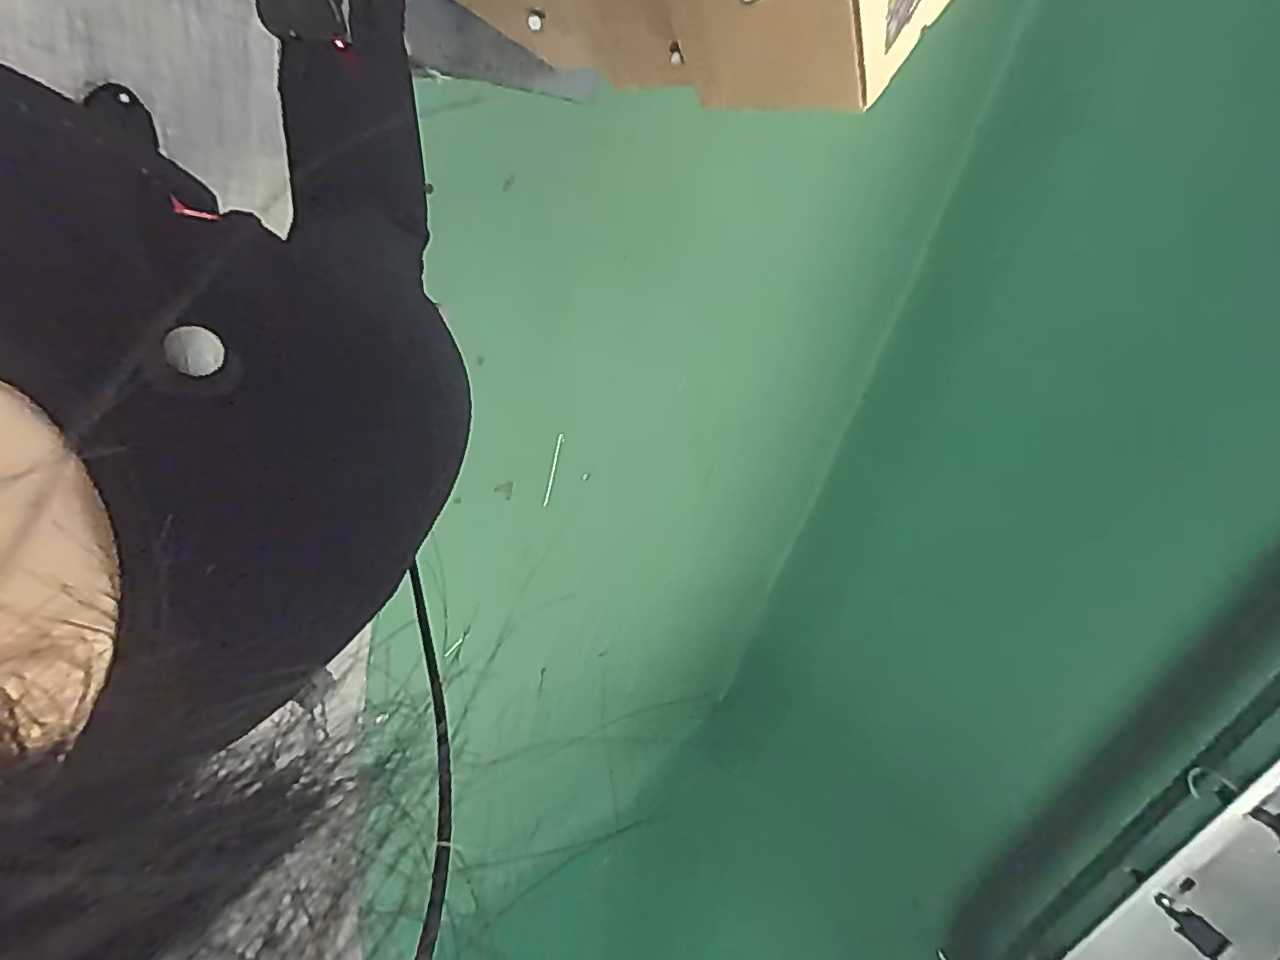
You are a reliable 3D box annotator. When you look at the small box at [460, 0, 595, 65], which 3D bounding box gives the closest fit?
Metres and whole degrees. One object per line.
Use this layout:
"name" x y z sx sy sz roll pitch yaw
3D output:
"small box" -0.085 -0.581 0.583 0.179 0.176 0.168 -2 116 -46
